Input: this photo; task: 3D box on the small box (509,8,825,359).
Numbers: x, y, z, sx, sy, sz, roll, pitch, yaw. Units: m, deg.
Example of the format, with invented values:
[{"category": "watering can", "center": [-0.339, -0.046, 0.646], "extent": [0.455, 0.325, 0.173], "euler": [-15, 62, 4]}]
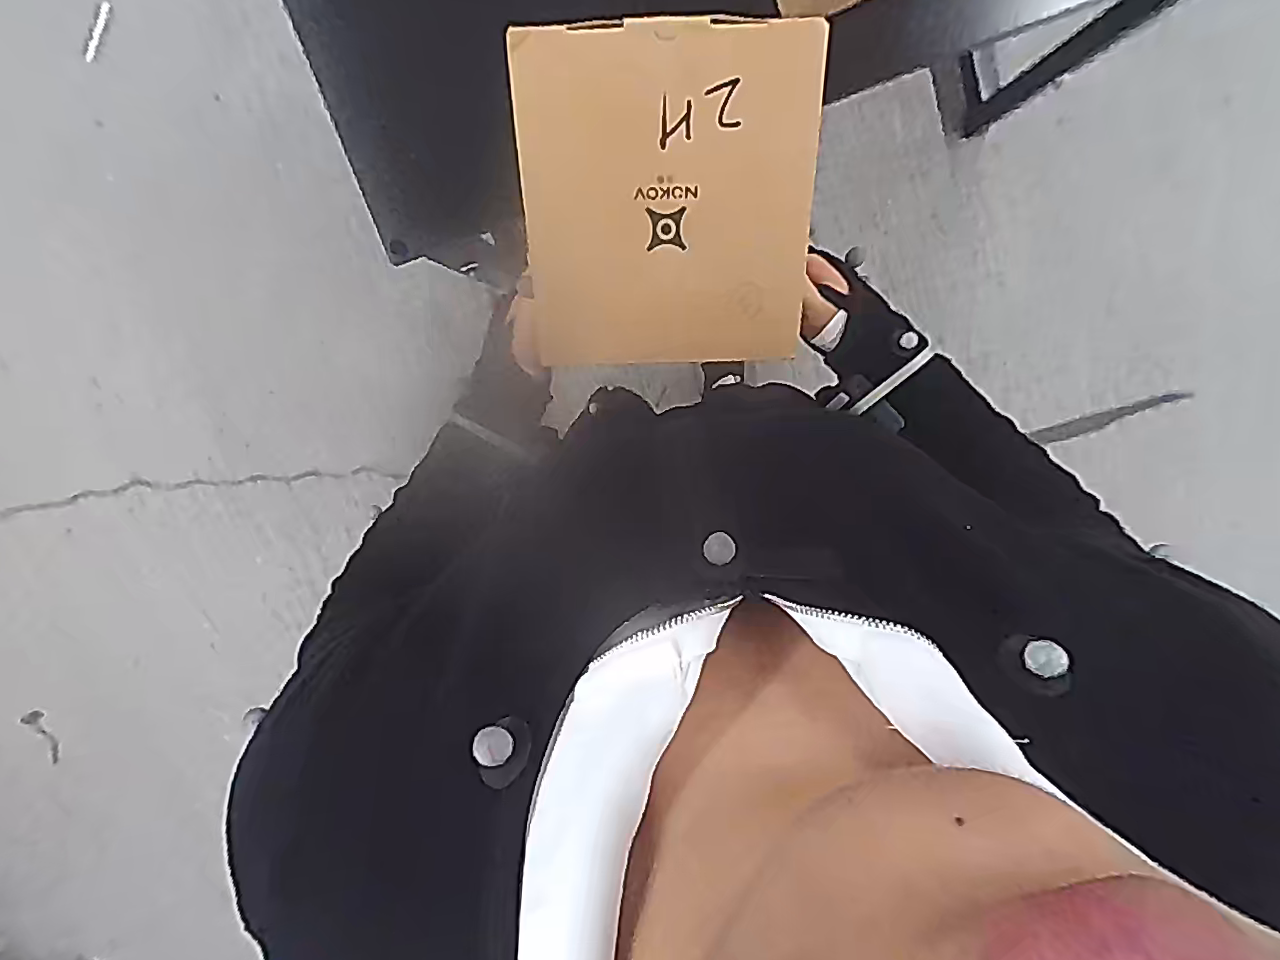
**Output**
[{"category": "small box", "center": [0.016, -0.193, 0.384], "extent": [0.168, 0.176, 0.179], "euler": [-3, 115, 0]}]
